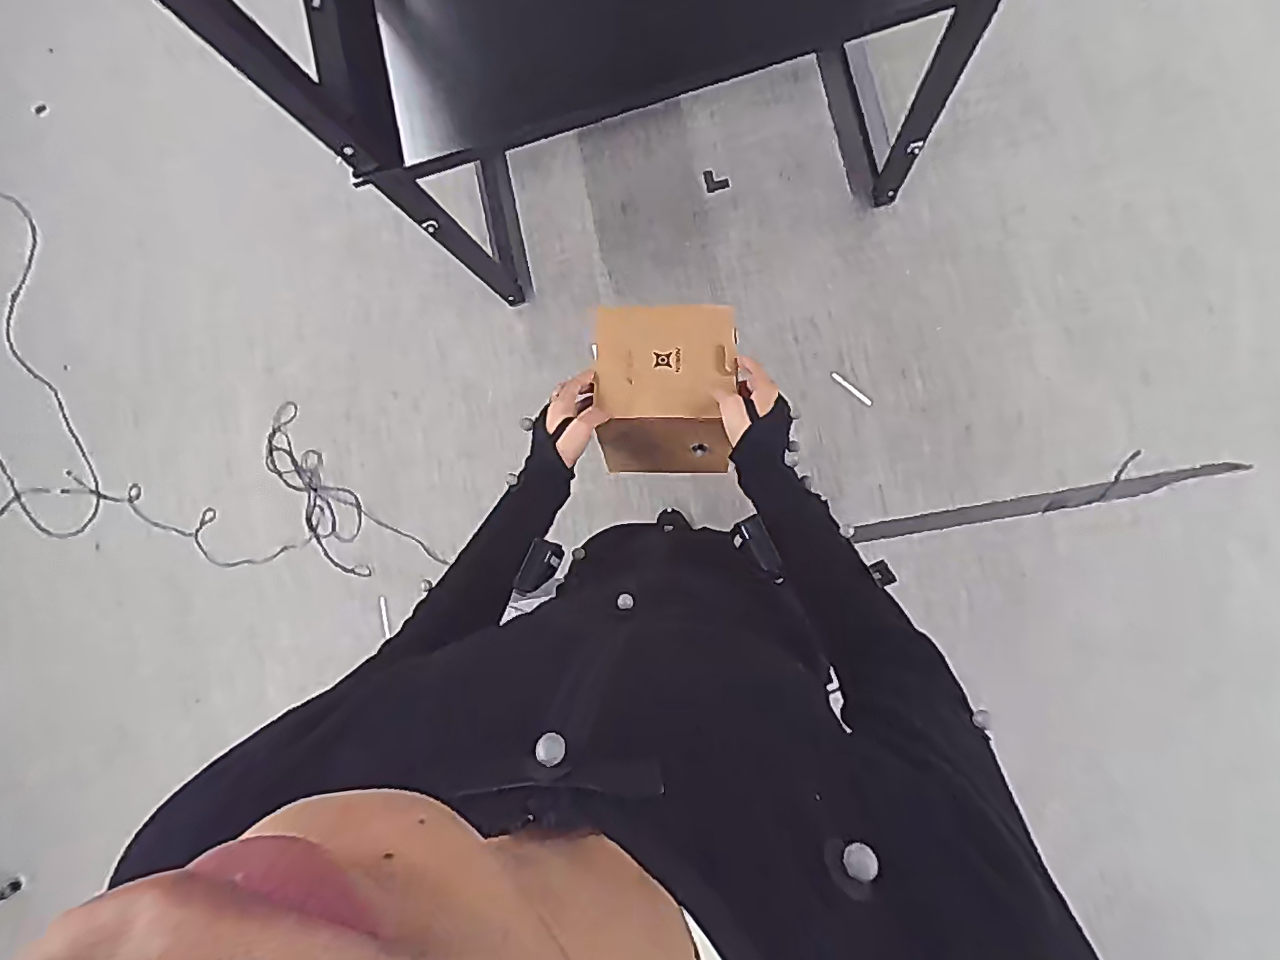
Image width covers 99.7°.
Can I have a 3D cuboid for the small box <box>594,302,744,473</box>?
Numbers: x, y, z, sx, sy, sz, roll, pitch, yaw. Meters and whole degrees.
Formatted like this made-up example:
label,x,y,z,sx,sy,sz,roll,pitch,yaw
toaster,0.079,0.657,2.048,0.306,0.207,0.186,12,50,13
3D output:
label,x,y,z,sx,sy,sz,roll,pitch,yaw
small box,0.040,-0.116,0.726,0.179,0.176,0.168,1,68,4
